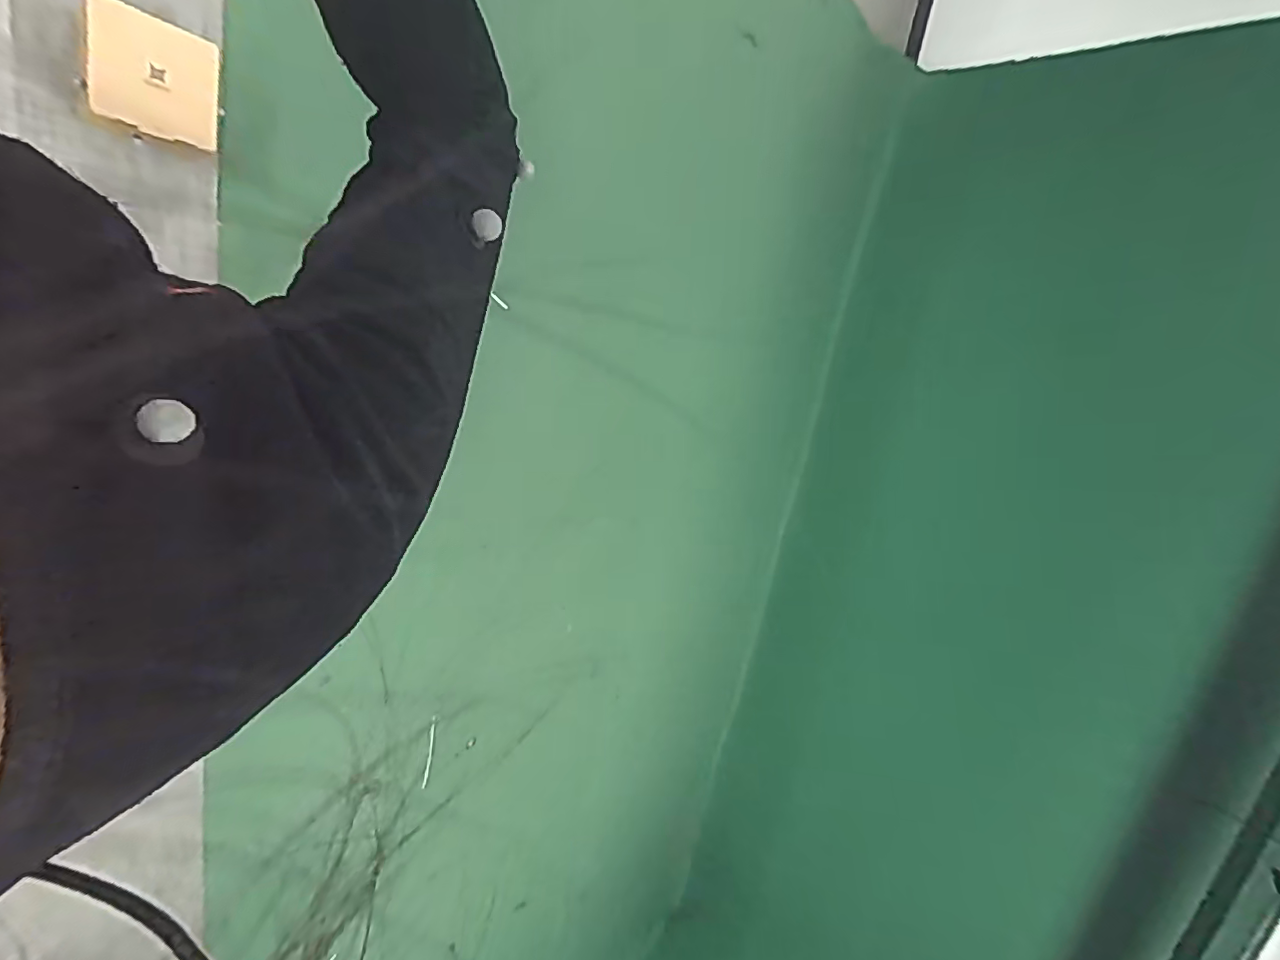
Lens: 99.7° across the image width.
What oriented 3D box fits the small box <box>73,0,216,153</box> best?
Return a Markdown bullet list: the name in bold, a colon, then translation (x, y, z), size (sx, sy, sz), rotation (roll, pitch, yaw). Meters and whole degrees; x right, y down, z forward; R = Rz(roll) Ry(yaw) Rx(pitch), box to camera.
- **small box**: translation (-0.865, -0.702, 0.945), size (0.168, 0.176, 0.179), rotation (-4, 110, -49)
